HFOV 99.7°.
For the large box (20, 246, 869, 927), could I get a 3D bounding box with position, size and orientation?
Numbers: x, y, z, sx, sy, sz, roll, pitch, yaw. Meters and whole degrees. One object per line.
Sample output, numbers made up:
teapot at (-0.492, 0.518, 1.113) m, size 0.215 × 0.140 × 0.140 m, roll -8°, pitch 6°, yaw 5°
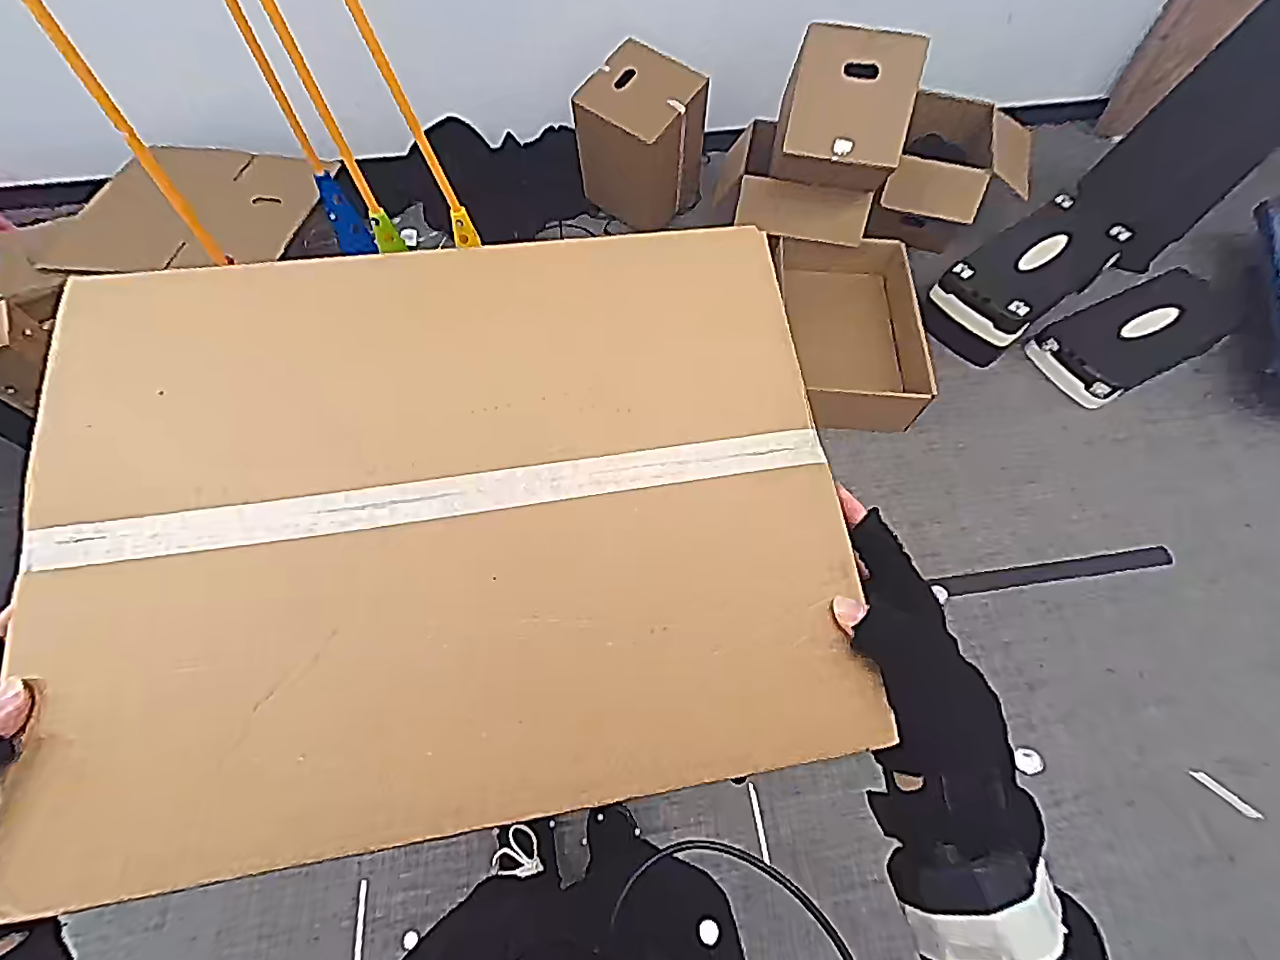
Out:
large box at (-0.108, 0.059, 0.436) m, size 0.408 × 0.320 × 0.320 m, roll -8°, pitch 74°, yaw -6°
